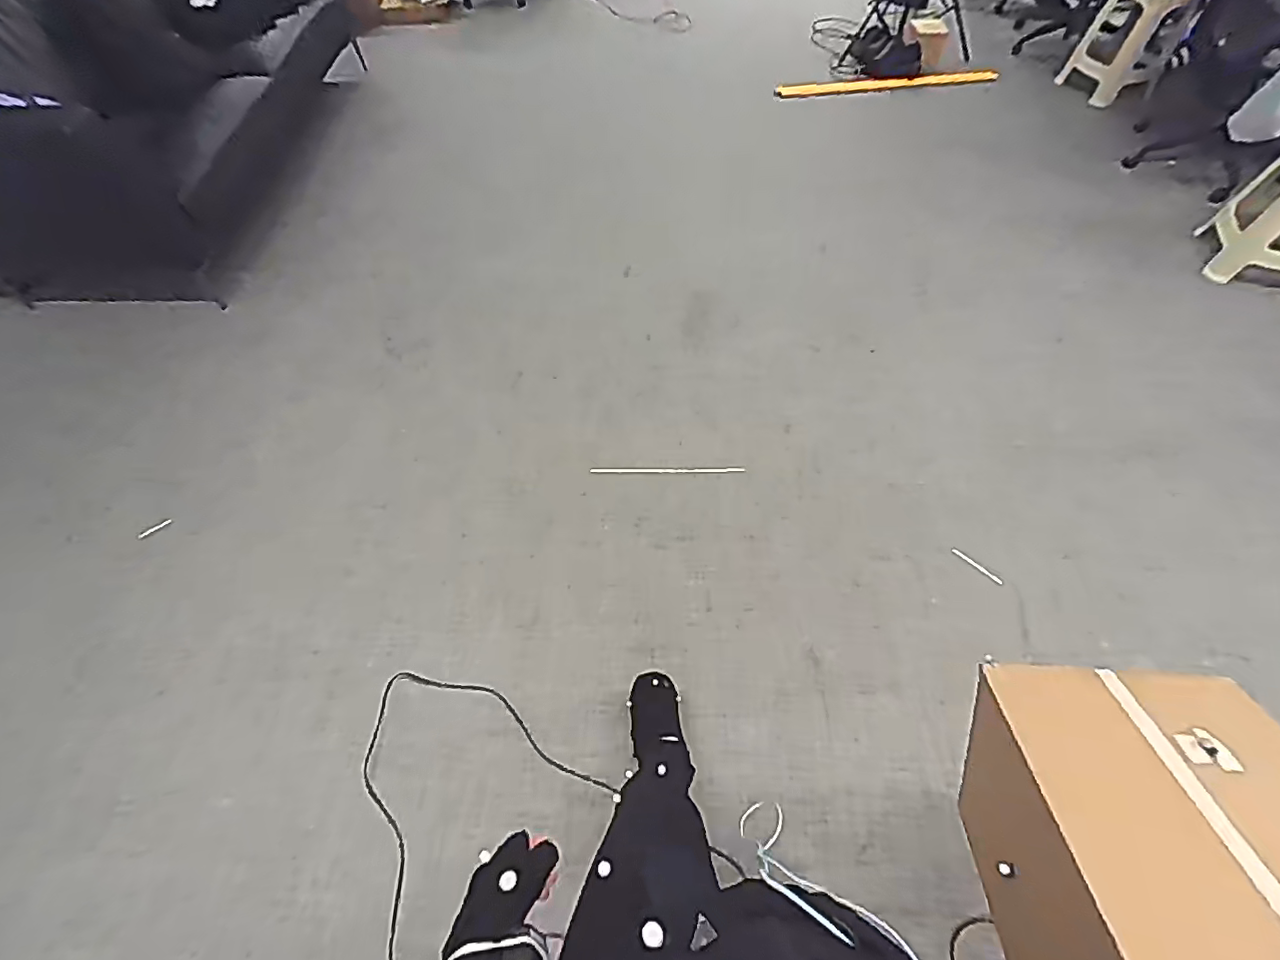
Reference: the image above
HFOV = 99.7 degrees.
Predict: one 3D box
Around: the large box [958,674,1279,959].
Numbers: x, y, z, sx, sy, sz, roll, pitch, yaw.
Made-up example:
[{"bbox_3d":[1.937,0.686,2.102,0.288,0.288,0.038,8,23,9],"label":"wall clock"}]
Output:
[{"bbox_3d":[0.641,0.510,0.677,0.320,0.320,0.408,-1,23,14],"label":"large box"}]
